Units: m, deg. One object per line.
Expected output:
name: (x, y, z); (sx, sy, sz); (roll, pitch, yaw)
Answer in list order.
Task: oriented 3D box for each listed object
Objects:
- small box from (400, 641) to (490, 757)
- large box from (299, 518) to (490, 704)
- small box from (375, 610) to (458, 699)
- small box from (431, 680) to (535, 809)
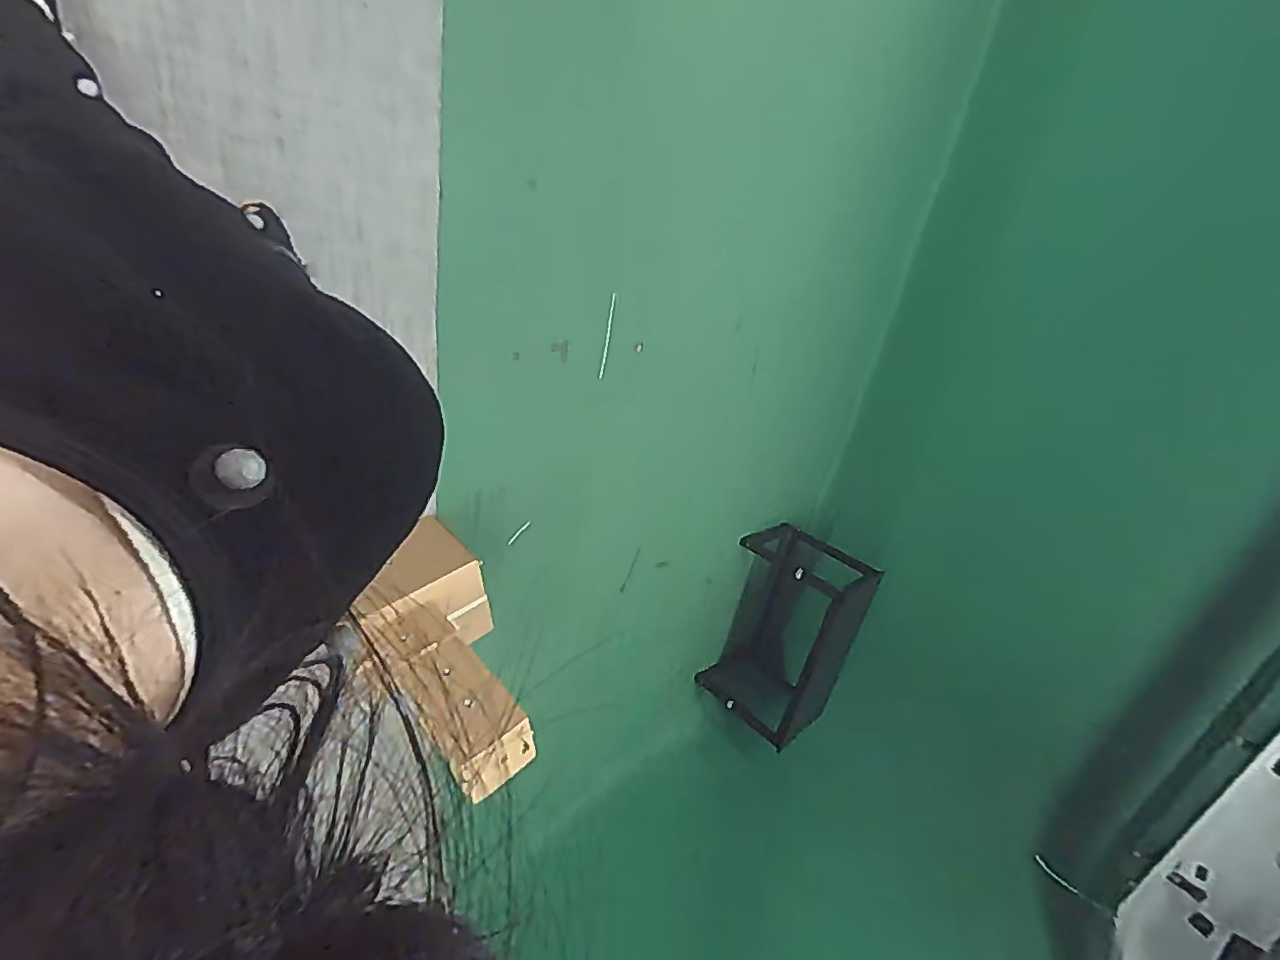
small box: (-0.490, 0.551, 1.379); (0.179, 0.176, 0.168); (-28, 132, -34)
large box: (-0.737, 0.380, 1.658); (0.408, 0.320, 0.320); (-29, 134, -36)
small box: (-0.600, 0.482, 1.479); (0.168, 0.176, 0.179); (-27, 132, -35)
small box: (-0.375, 0.618, 1.282); (0.179, 0.176, 0.168); (-27, 132, -34)
